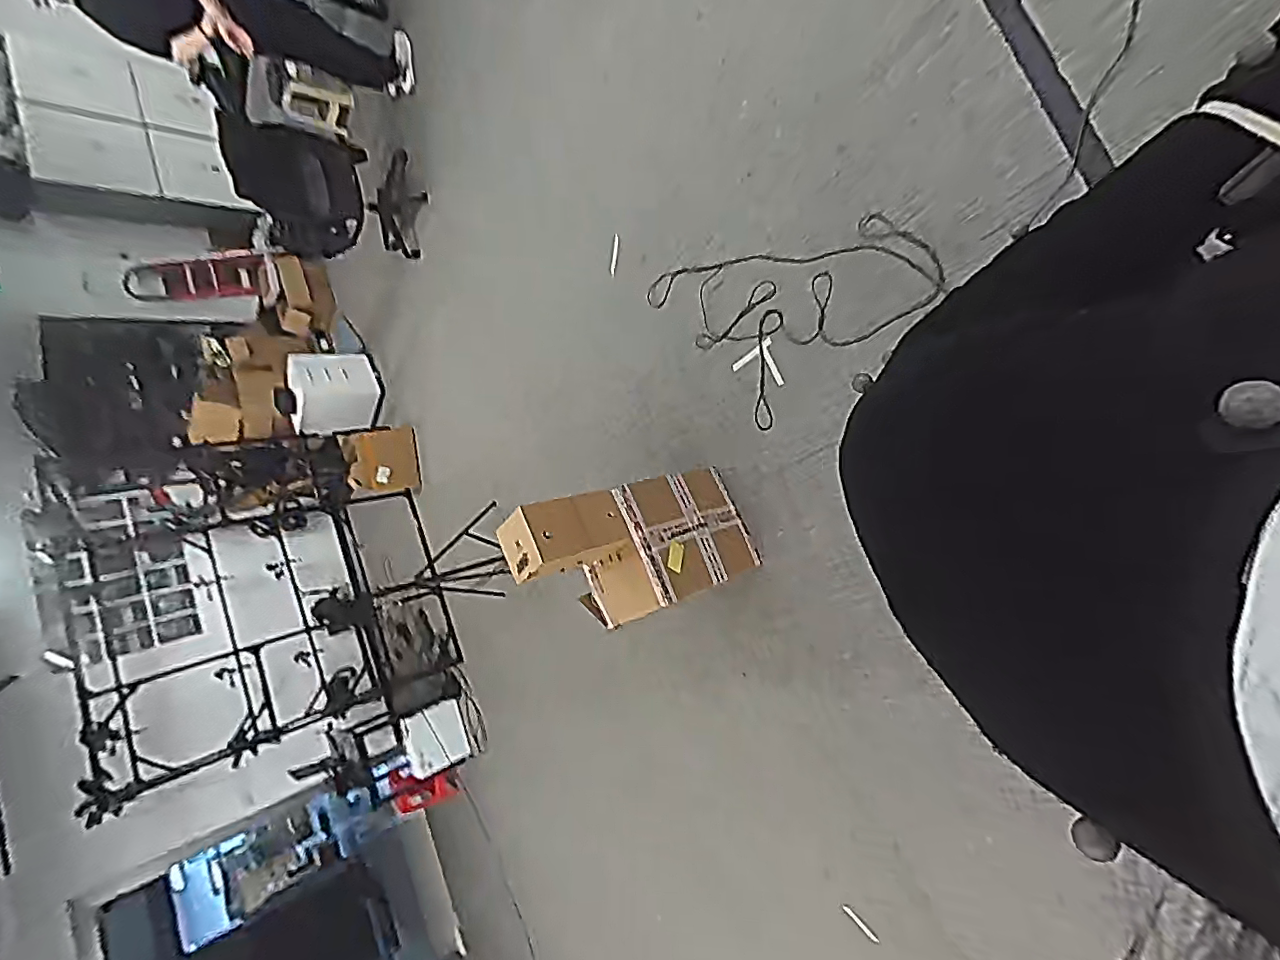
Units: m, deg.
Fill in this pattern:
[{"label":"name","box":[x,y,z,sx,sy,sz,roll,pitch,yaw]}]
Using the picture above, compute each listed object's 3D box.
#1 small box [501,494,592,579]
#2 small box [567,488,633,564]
[{"label":"small box","box":[-0.266,0.157,1.546,0.168,0.176,0.179,-40,69,41]},{"label":"small box","box":[-0.153,0.136,1.666,0.168,0.176,0.179,-41,69,41]}]
